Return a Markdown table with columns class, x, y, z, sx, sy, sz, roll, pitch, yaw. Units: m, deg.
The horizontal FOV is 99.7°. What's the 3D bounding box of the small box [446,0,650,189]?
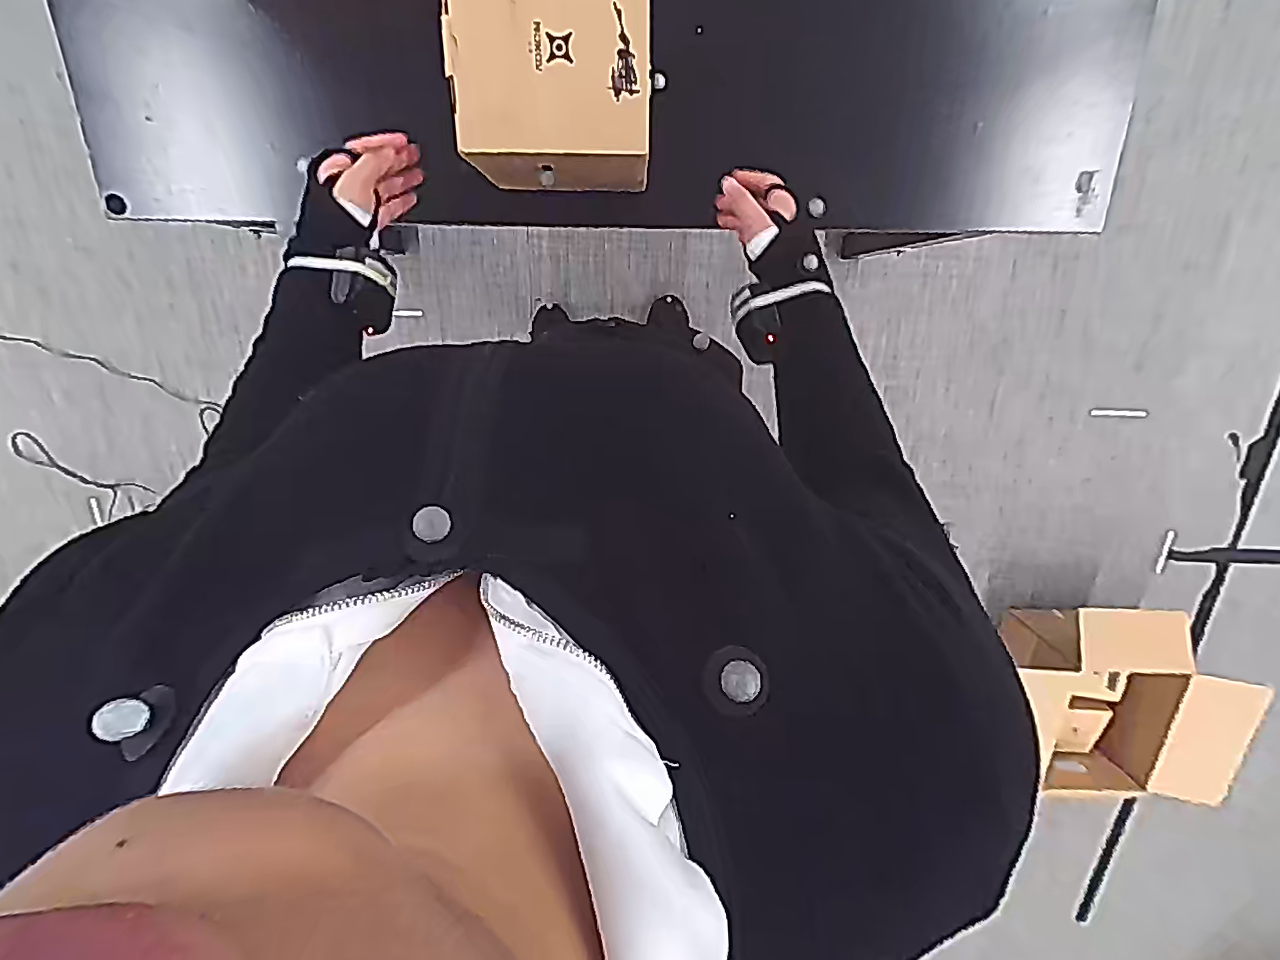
| class | x | y | z | sx | sy | sz | roll | pitch | yaw |
| --- | --- | --- | --- | --- | --- | --- | --- | --- | --- |
| small box | -0.080 | -0.404 | 0.550 | 0.179 | 0.176 | 0.168 | 0 | 108 | 0 |
